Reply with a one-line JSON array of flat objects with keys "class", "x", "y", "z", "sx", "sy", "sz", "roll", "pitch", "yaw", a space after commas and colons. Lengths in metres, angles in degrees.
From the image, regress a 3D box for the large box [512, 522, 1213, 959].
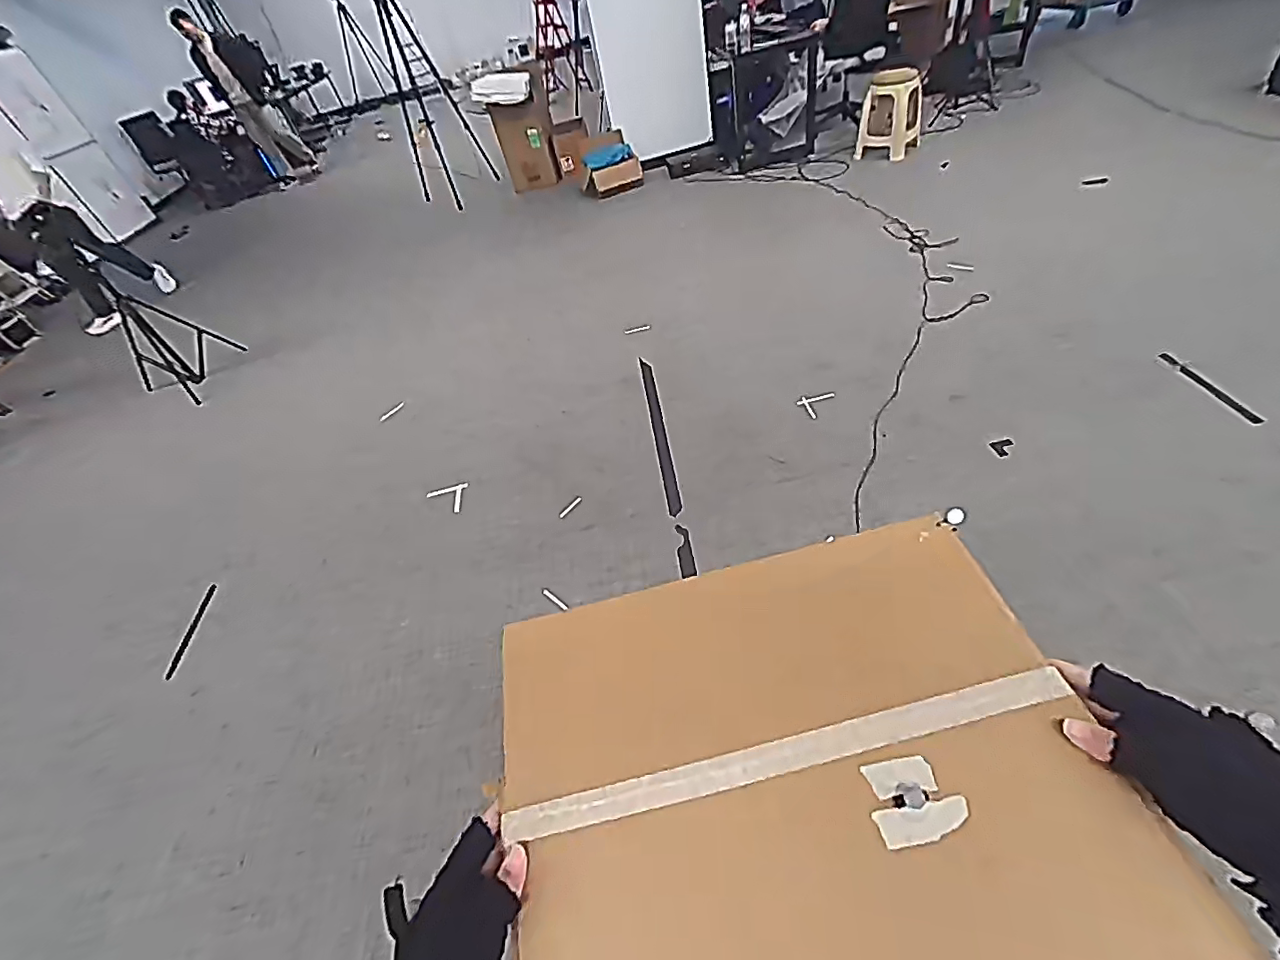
[{"class": "large box", "x": 0.126, "y": 0.295, "z": 0.508, "sx": 0.408, "sy": 0.320, "sz": 0.320, "roll": -14, "pitch": 49, "yaw": -1}]
